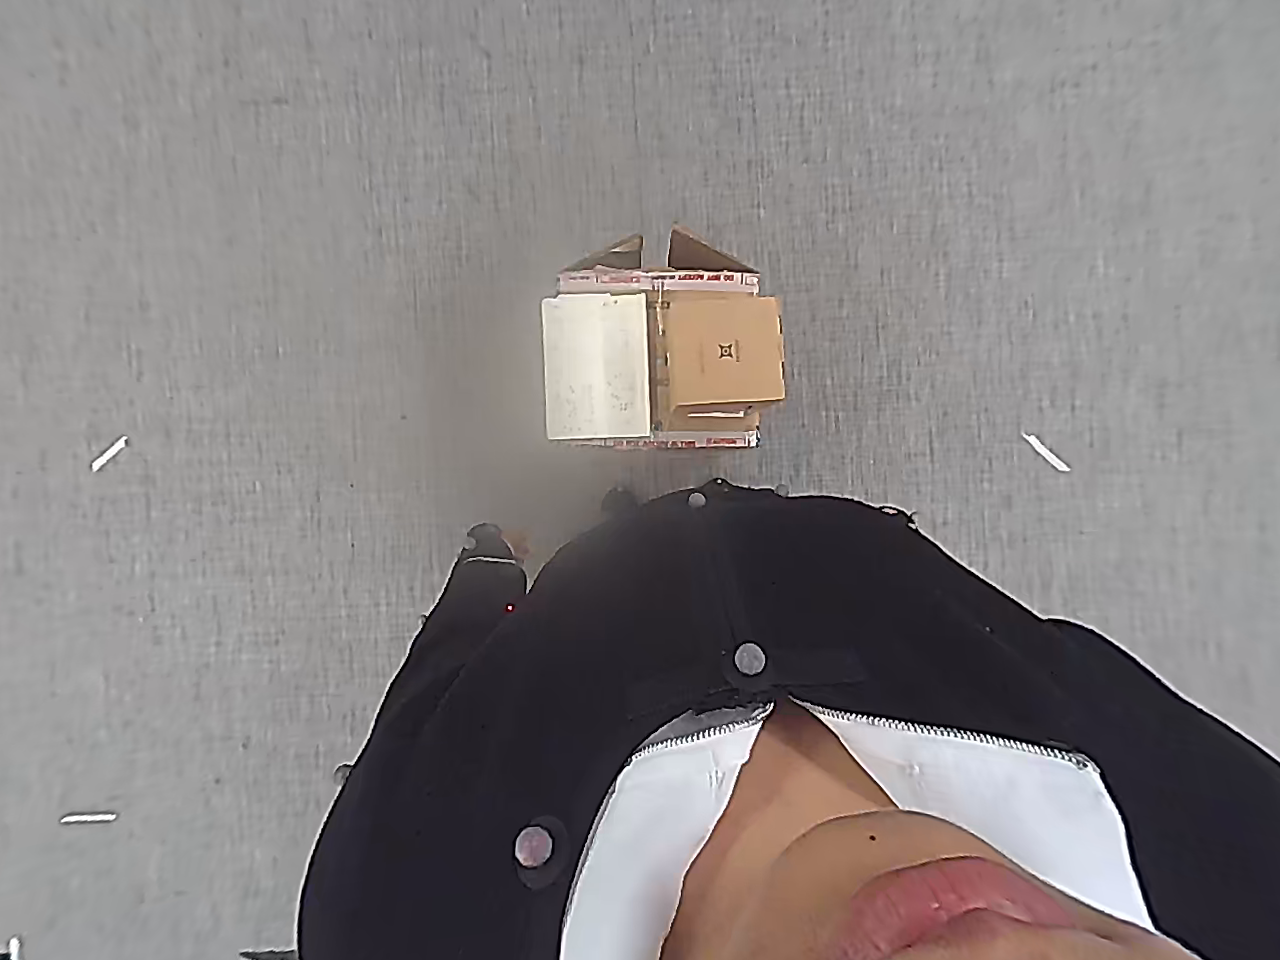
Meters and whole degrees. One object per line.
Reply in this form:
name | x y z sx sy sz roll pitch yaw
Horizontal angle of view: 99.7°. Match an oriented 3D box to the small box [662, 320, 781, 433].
small box | 0.135 -0.174 0.950 0.179 0.176 0.168 -4 91 -1
